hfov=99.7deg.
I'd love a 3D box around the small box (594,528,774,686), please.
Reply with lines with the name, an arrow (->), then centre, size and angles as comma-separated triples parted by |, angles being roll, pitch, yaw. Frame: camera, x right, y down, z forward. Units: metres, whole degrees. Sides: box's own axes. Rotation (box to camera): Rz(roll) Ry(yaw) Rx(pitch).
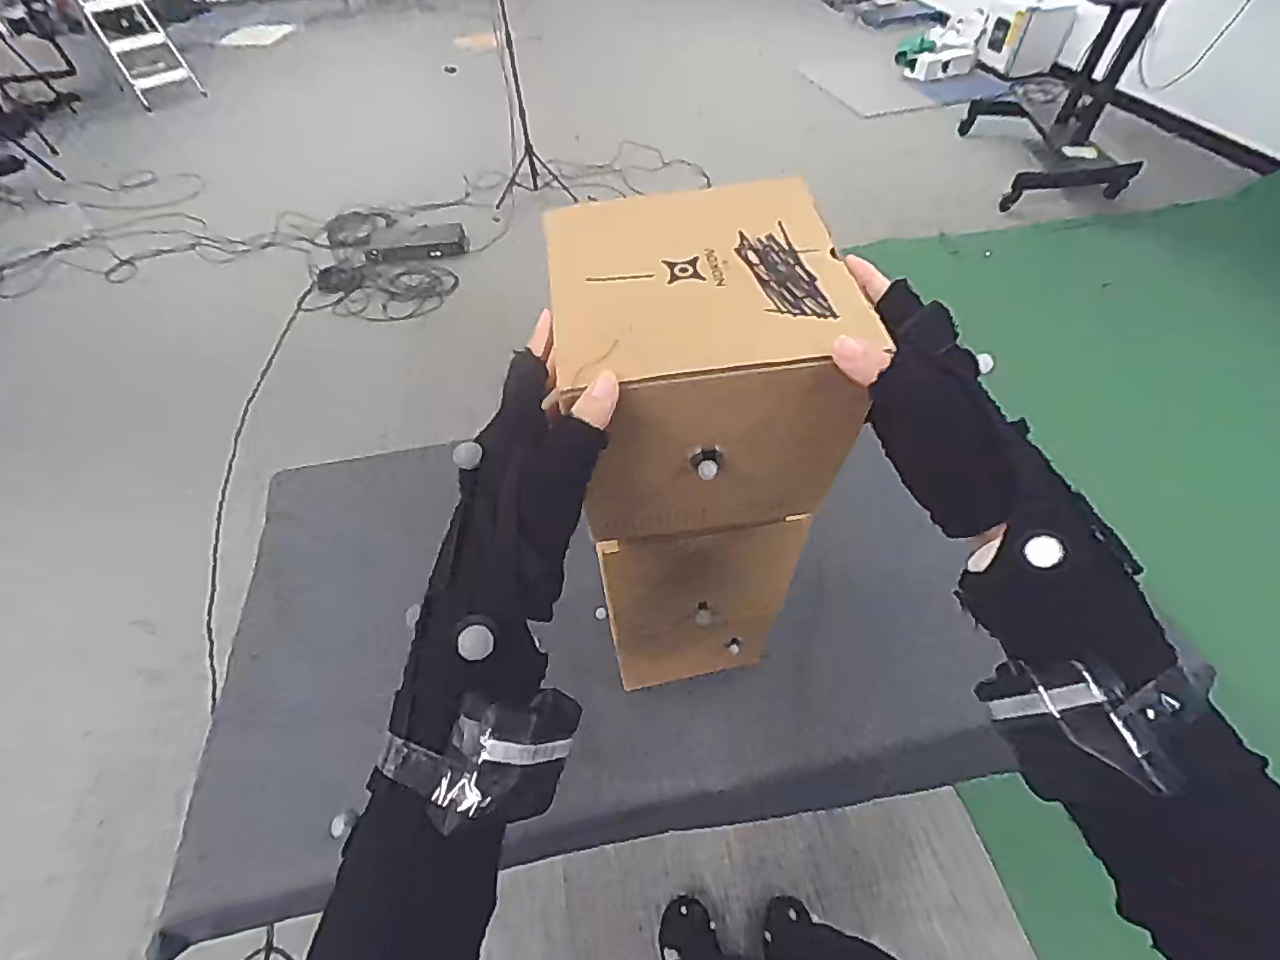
small box -> 0.046, 0.135, 0.676 | 0.179, 0.176, 0.168 | -12, 51, -5

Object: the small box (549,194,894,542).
small box -> 0.038, -0.073, 0.391 | 0.179, 0.176, 0.168 | -10, 57, -6

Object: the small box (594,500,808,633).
small box -> 0.042, 0.035, 0.546 | 0.179, 0.176, 0.168 | -9, 51, -5
